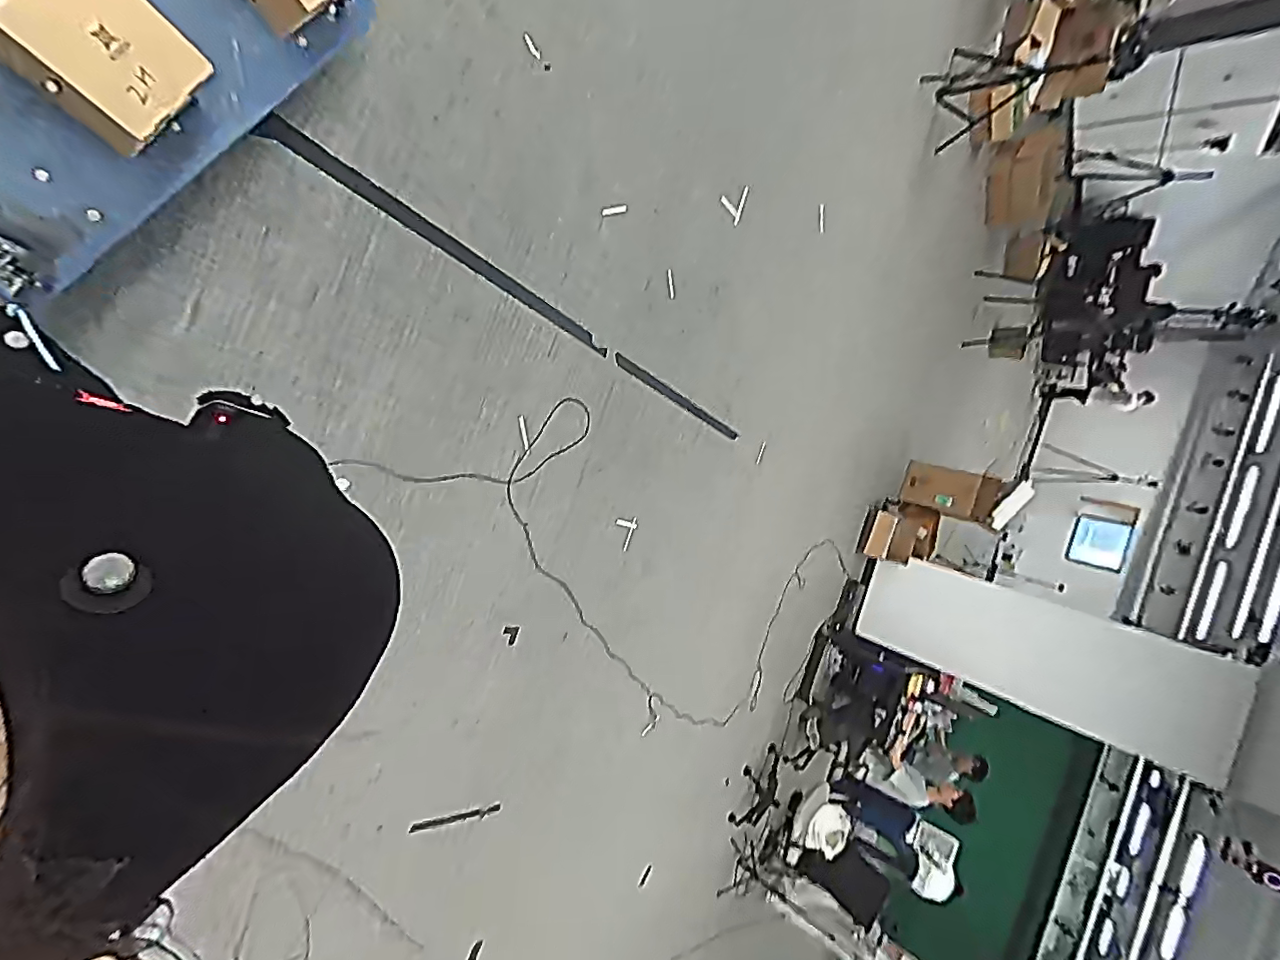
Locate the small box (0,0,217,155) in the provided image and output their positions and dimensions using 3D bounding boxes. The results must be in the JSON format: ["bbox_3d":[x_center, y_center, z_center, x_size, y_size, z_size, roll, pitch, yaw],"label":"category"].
[{"bbox_3d":[-0.792,-0.625,0.806,0.179,0.176,0.168,45,69,-46],"label":"small box"}]

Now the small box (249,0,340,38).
[{"bbox_3d":[-0.597,-0.910,0.923,0.179,0.176,0.168,-56,137,-17],"label":"small box"}]
